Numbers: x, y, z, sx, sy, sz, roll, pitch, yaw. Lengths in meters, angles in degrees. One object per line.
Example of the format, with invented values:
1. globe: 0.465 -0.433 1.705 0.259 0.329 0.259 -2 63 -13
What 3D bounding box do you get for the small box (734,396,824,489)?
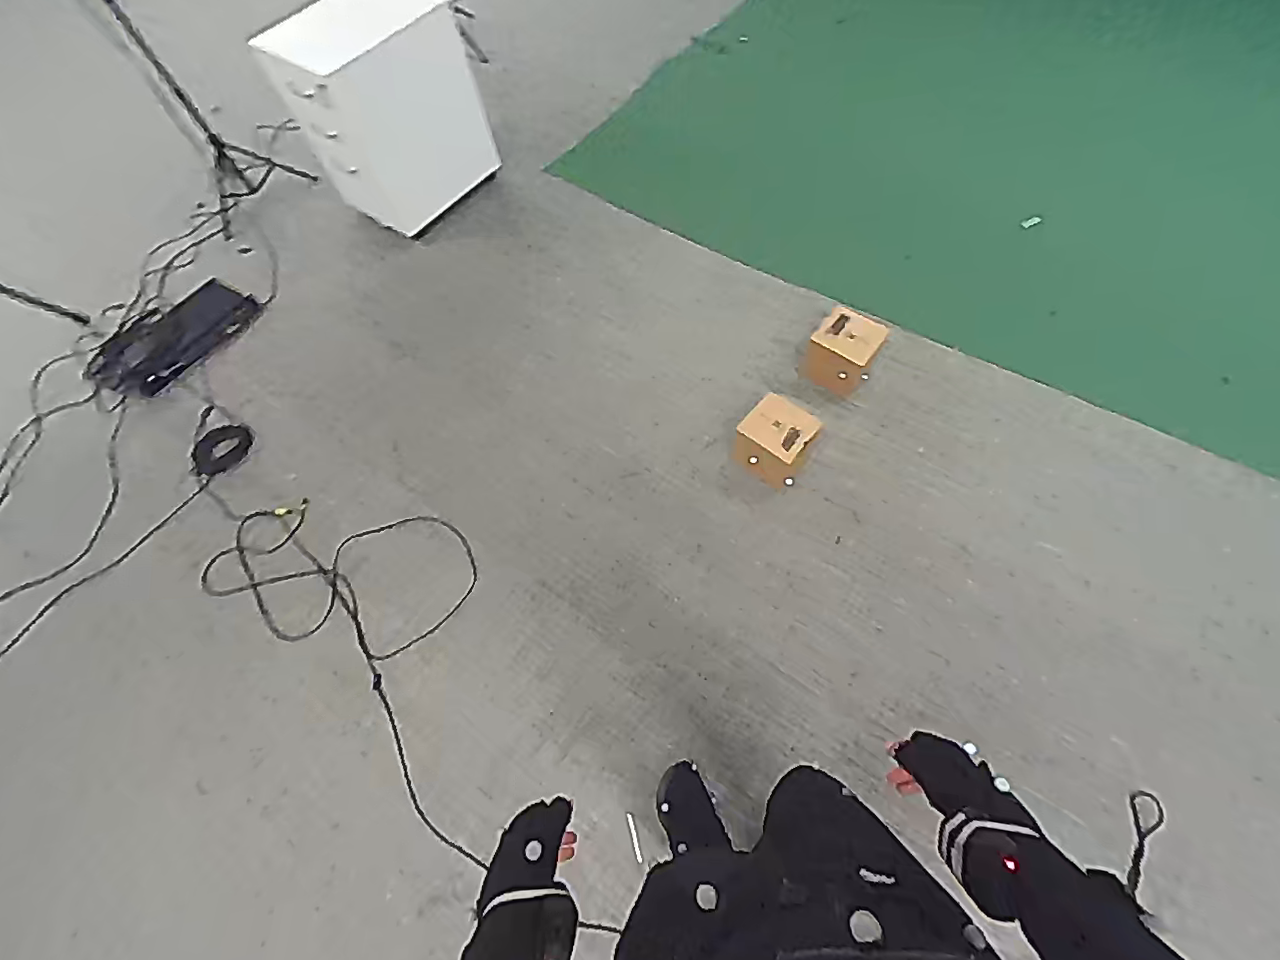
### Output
1. small box: 0.382 -0.096 1.519 0.179 0.176 0.168 37 71 21
